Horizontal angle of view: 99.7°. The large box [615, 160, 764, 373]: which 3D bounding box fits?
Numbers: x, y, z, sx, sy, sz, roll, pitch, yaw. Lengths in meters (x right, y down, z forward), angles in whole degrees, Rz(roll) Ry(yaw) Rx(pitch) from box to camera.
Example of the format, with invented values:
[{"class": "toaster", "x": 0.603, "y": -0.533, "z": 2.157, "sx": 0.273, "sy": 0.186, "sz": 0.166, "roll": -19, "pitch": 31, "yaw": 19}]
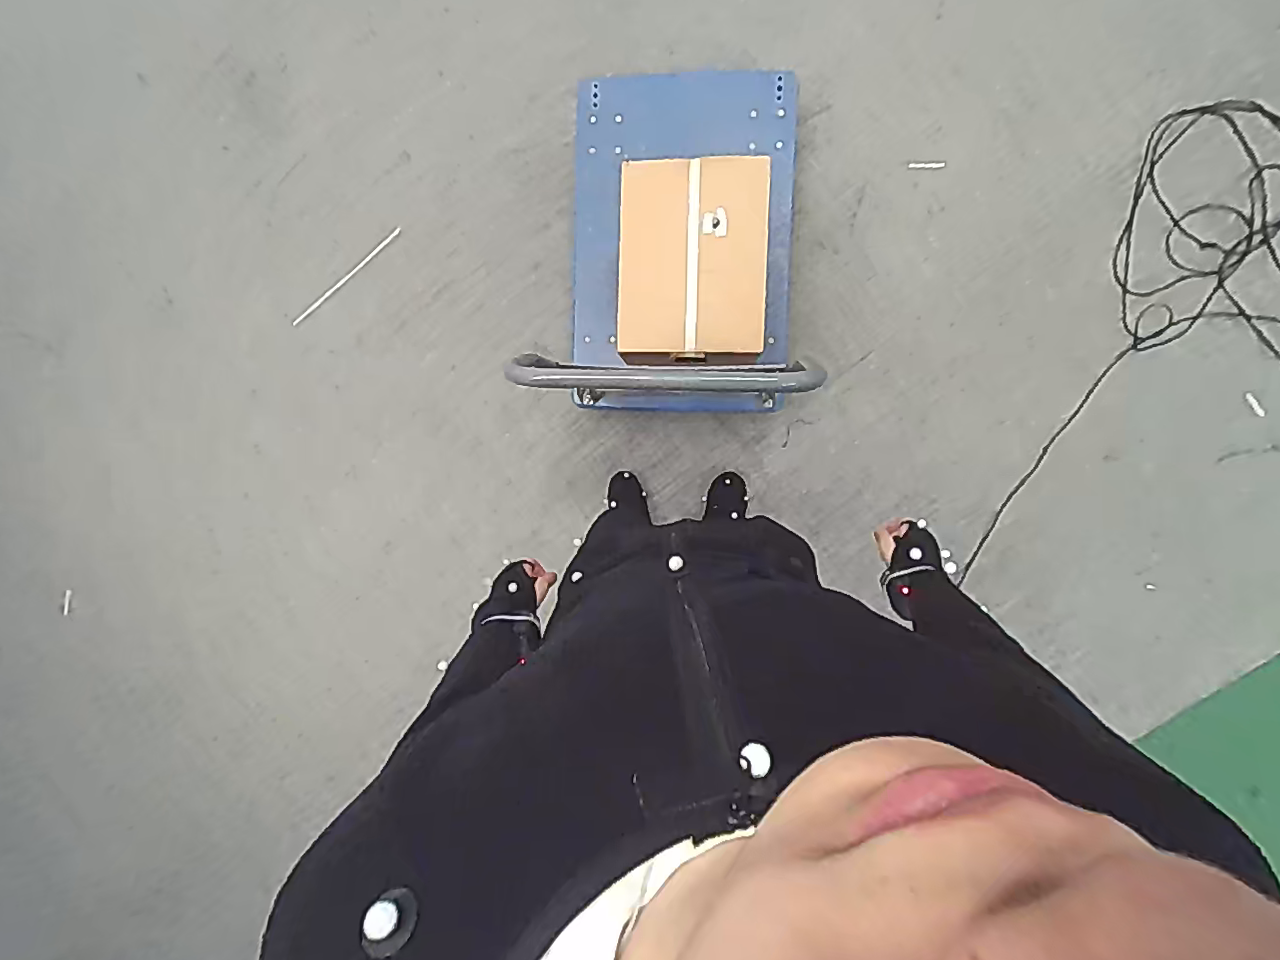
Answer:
[{"class": "large box", "x": 0.121, "y": -0.481, "z": 1.305, "sx": 0.320, "sy": 0.320, "sz": 0.408, "roll": 2, "pitch": 92, "yaw": 6}]
